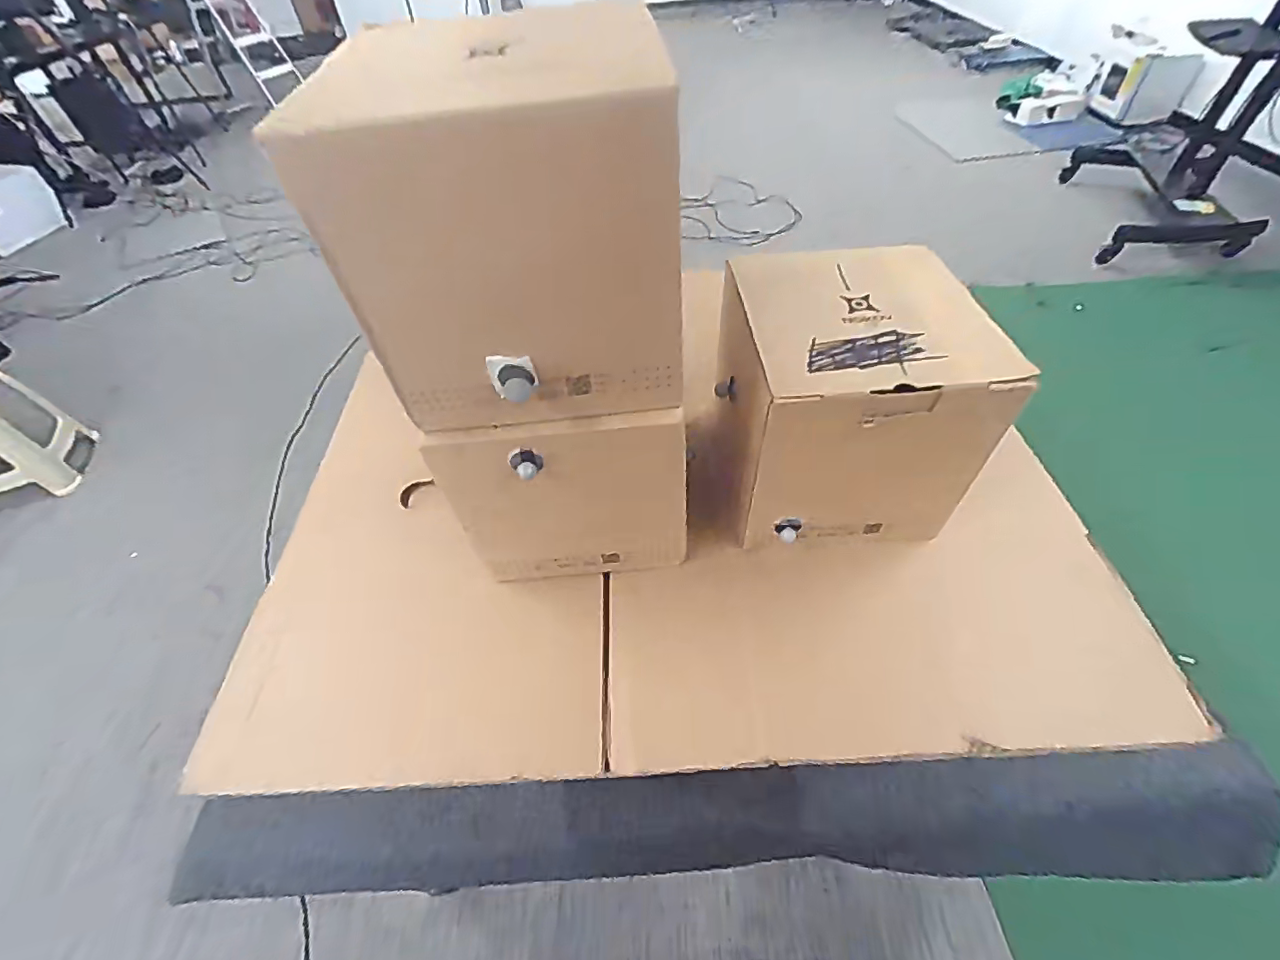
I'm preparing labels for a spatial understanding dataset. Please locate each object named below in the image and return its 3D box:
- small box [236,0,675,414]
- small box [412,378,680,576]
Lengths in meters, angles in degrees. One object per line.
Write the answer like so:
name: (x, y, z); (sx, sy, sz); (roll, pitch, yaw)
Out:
small box: (-0.072, -0.163, 0.314); (0.168, 0.176, 0.179); (-7, 52, 0)
small box: (-0.057, -0.042, 0.445); (0.168, 0.176, 0.179); (-6, 49, 3)
